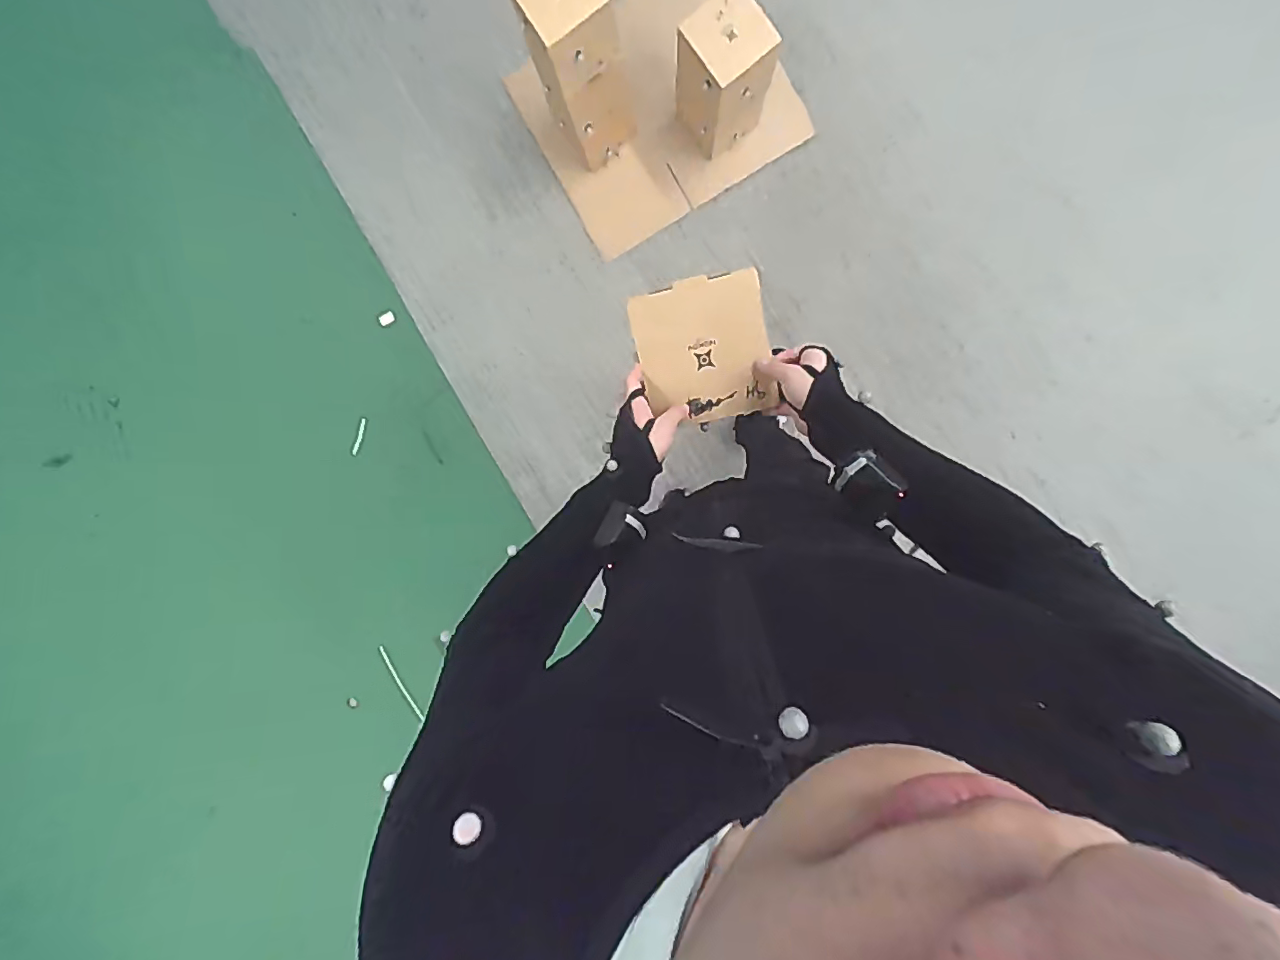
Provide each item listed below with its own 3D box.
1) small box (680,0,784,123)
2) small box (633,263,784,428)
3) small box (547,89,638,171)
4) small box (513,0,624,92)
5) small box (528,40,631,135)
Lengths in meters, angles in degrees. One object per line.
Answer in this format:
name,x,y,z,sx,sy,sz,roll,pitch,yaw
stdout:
small box,0.211,-0.988,1.273,0.168,0.176,0.179,-36,90,5
small box,0.093,-0.180,0.753,0.168,0.176,0.179,-11,101,8
small box,-0.122,-0.994,1.474,0.168,0.176,0.179,-37,90,7
small box,-0.149,-0.977,1.150,0.168,0.176,0.179,-33,89,7
small box,-0.138,-0.984,1.311,0.168,0.176,0.179,-34,89,7
